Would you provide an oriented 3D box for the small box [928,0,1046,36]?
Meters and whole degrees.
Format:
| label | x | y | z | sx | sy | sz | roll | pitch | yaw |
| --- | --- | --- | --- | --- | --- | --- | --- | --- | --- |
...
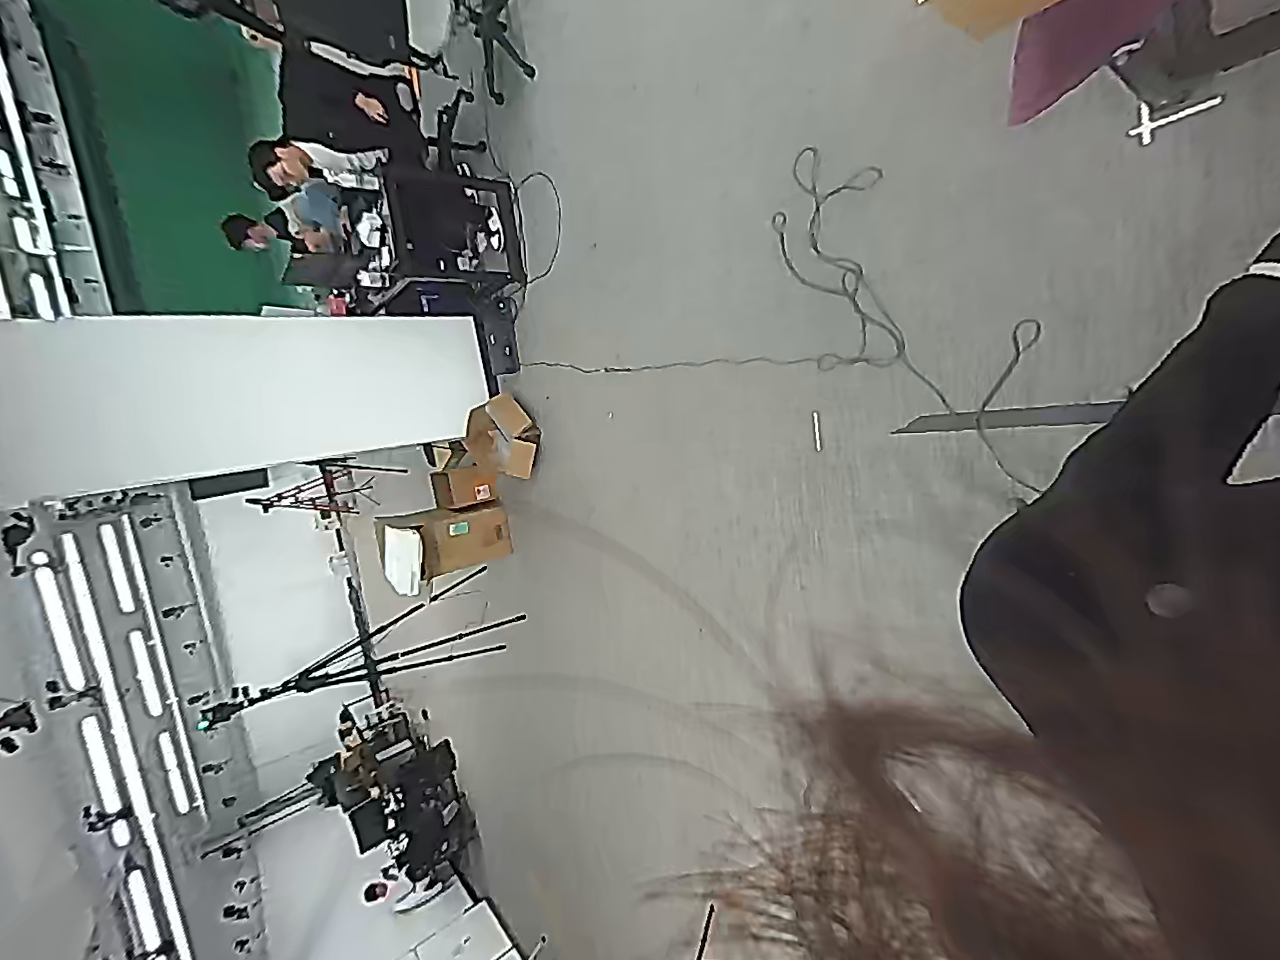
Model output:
| label | x | y | z | sx | sy | sz | roll | pitch | yaw |
| --- | --- | --- | --- | --- | --- | --- | --- | --- | --- |
| small box | 0.441 | -0.668 | 0.624 | 0.179 | 0.176 | 0.168 | 3 | 104 | 51 |
